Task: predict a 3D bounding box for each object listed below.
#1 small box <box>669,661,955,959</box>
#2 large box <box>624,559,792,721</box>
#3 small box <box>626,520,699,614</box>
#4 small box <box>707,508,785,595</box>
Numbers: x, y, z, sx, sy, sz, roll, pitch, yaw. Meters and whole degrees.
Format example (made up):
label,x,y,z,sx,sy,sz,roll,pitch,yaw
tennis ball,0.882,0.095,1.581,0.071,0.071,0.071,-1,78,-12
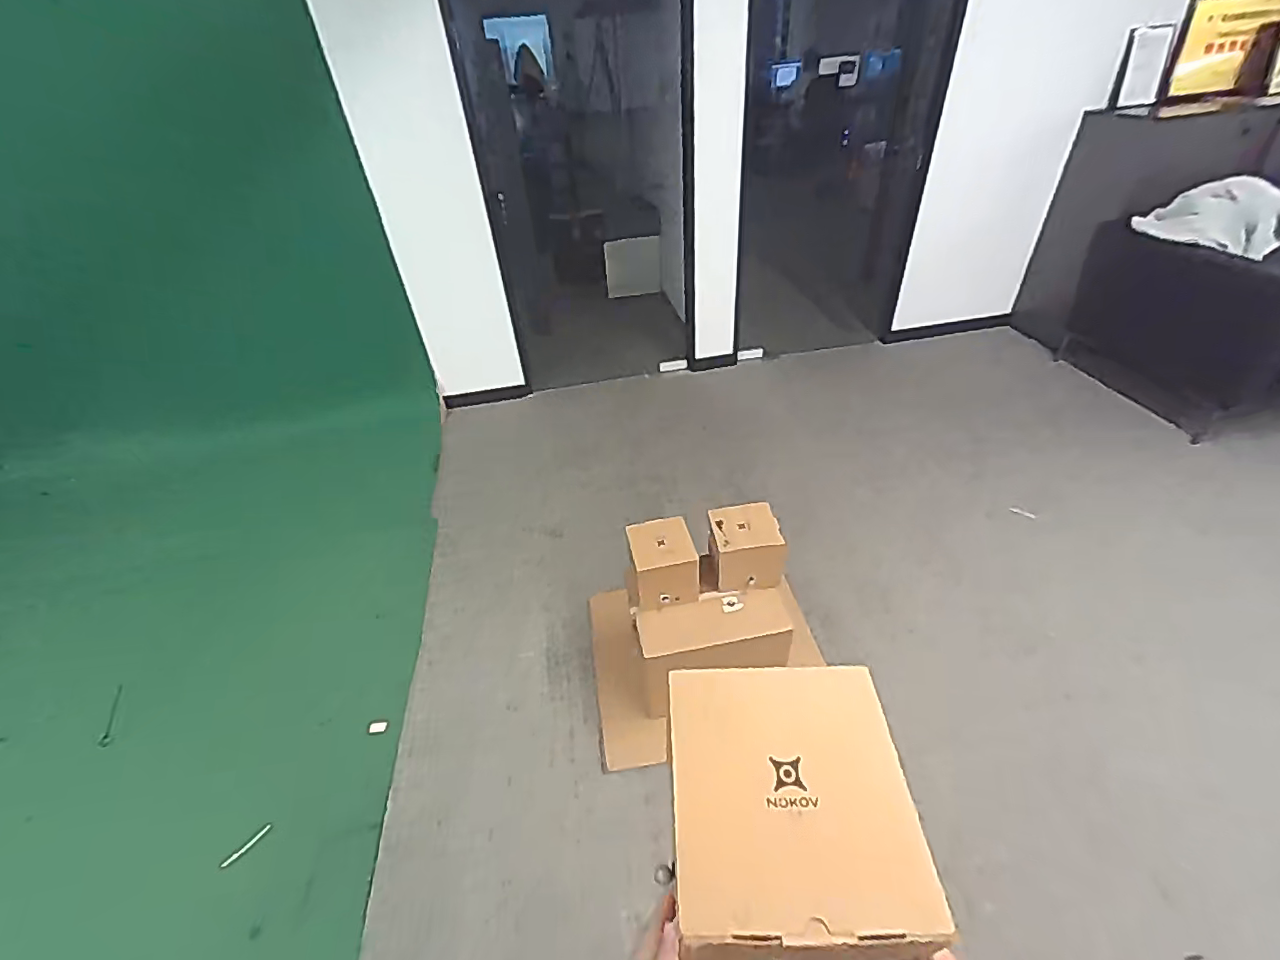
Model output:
label,x,y,z,sx,sy,sz,roll,pitch,yaw
small box,0.109,0.269,0.438,0.168,0.176,0.179,-1,42,1
large box,0.181,0.455,1.588,0.408,0.320,0.320,-9,39,-7
small box,0.059,0.238,1.482,0.168,0.176,0.179,-11,39,-7
small box,0.286,0.199,1.502,0.179,0.176,0.168,-6,39,-1
